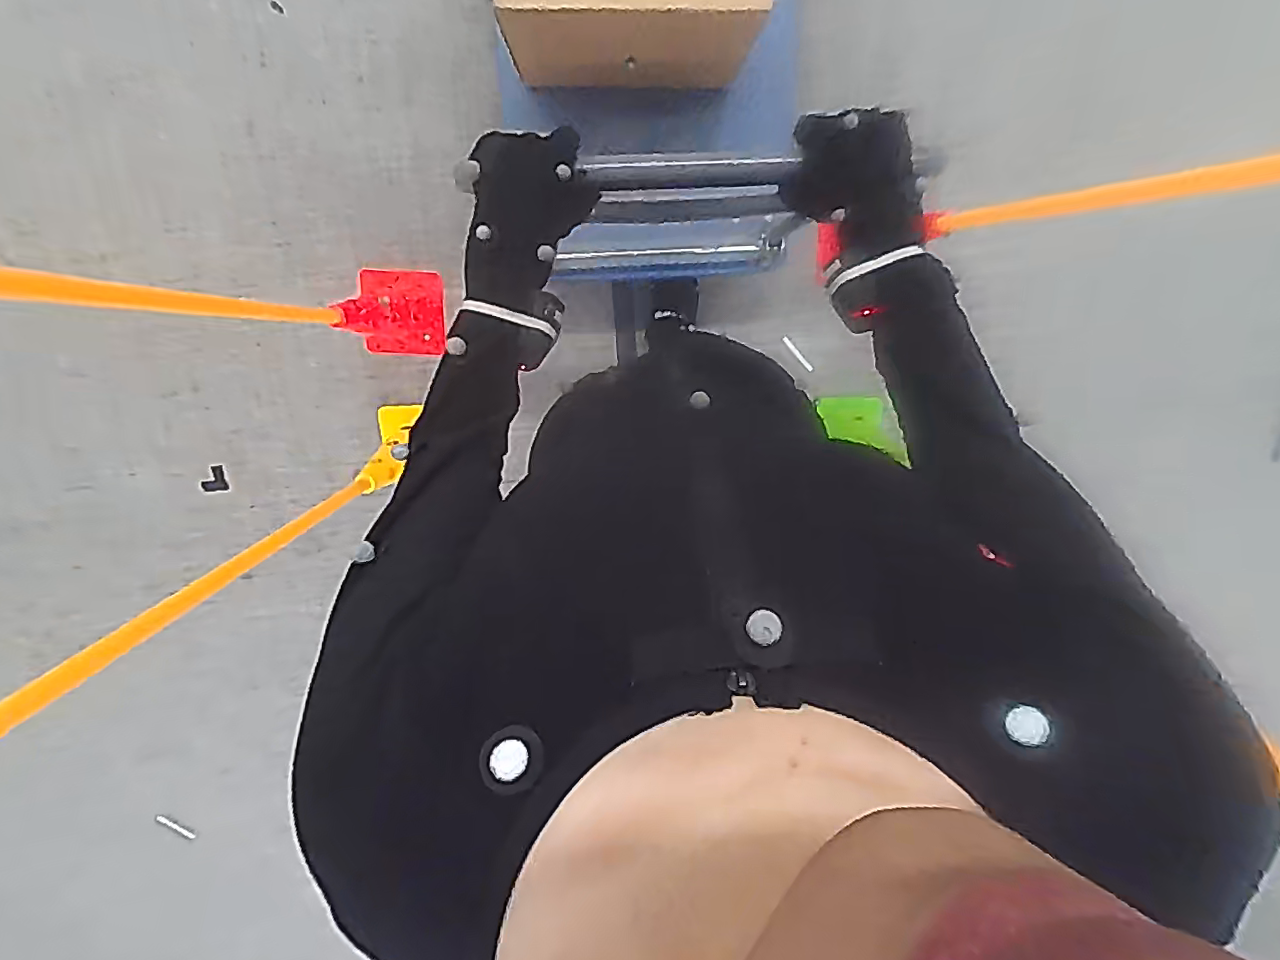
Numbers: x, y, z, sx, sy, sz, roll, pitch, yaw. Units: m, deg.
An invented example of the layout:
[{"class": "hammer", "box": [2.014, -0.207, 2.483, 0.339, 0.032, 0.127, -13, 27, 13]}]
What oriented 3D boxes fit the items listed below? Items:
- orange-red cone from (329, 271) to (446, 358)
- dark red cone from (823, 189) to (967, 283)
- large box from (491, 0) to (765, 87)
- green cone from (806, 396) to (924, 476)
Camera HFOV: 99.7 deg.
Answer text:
[{"class": "orange-red cone", "box": [-0.572, -0.359, 1.173, 0.198, 0.360, 0.199, 2, 106, -4]}, {"class": "dark red cone", "box": [0.548, -0.533, 1.144, 0.201, 0.394, 0.202, -6, 108, -3]}, {"class": "large box", "box": [-0.023, -0.873, 0.877, 0.408, 0.320, 0.320, -2, 108, -1]}, {"class": "green cone", "box": [0.564, -0.076, 1.308, 0.202, 0.368, 0.200, -2, 108, -3]}]
